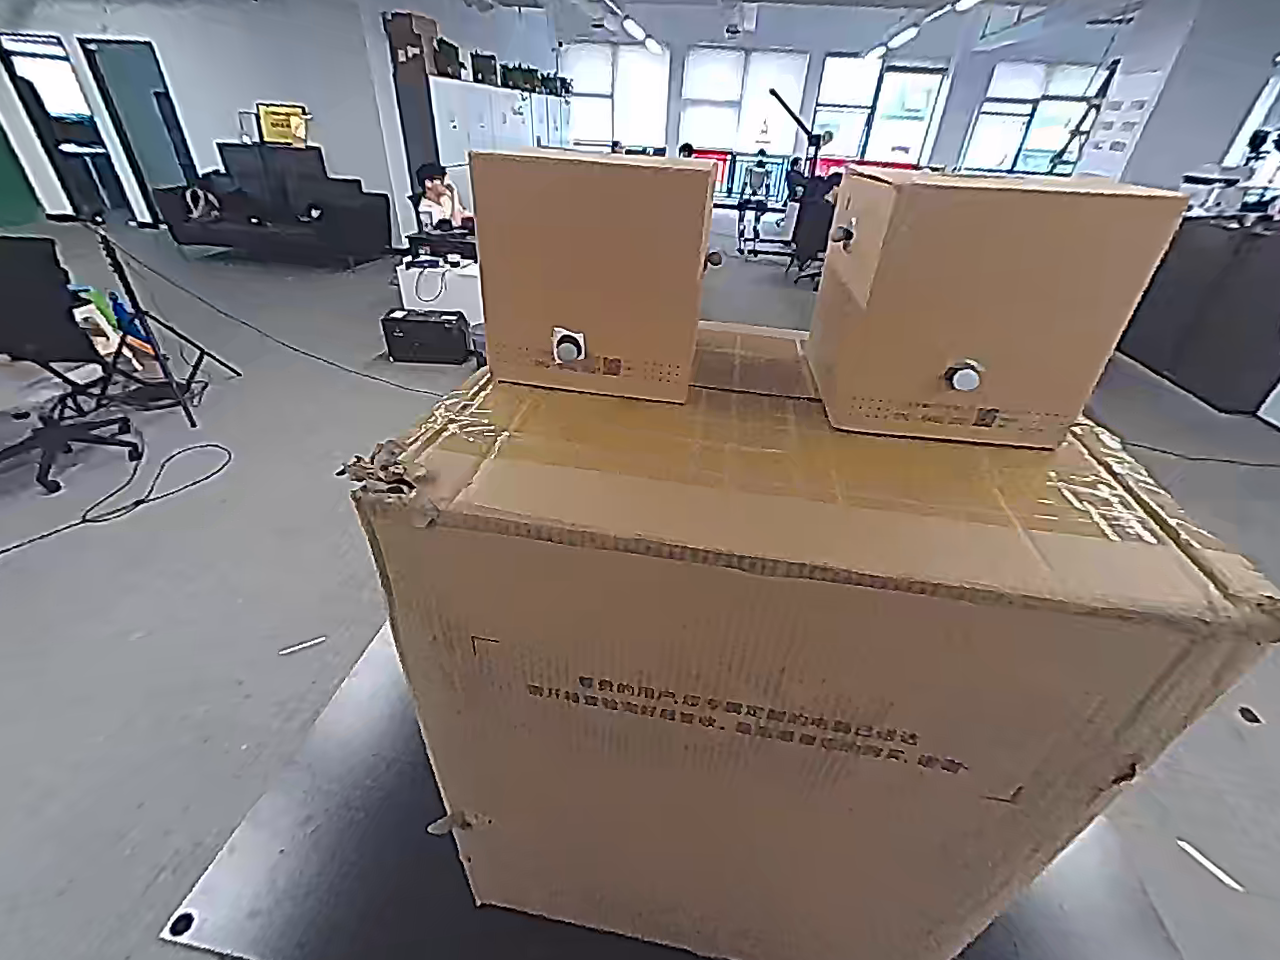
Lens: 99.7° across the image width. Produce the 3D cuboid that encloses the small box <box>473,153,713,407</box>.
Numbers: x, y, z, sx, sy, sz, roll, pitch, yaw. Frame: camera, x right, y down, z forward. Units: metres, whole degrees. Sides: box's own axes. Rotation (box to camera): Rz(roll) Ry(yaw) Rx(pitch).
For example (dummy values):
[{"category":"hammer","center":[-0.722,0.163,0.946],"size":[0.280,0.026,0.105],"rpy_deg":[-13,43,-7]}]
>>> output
[{"category":"small box","center":[-0.029,-0.181,0.475],"size":[0.168,0.176,0.179],"rpy_deg":[6,34,5]}]

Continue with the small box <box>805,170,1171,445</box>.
[{"category":"small box","center":[0.238,-0.146,0.435],"size":[0.168,0.176,0.179],"rpy_deg":[5,33,6]}]
